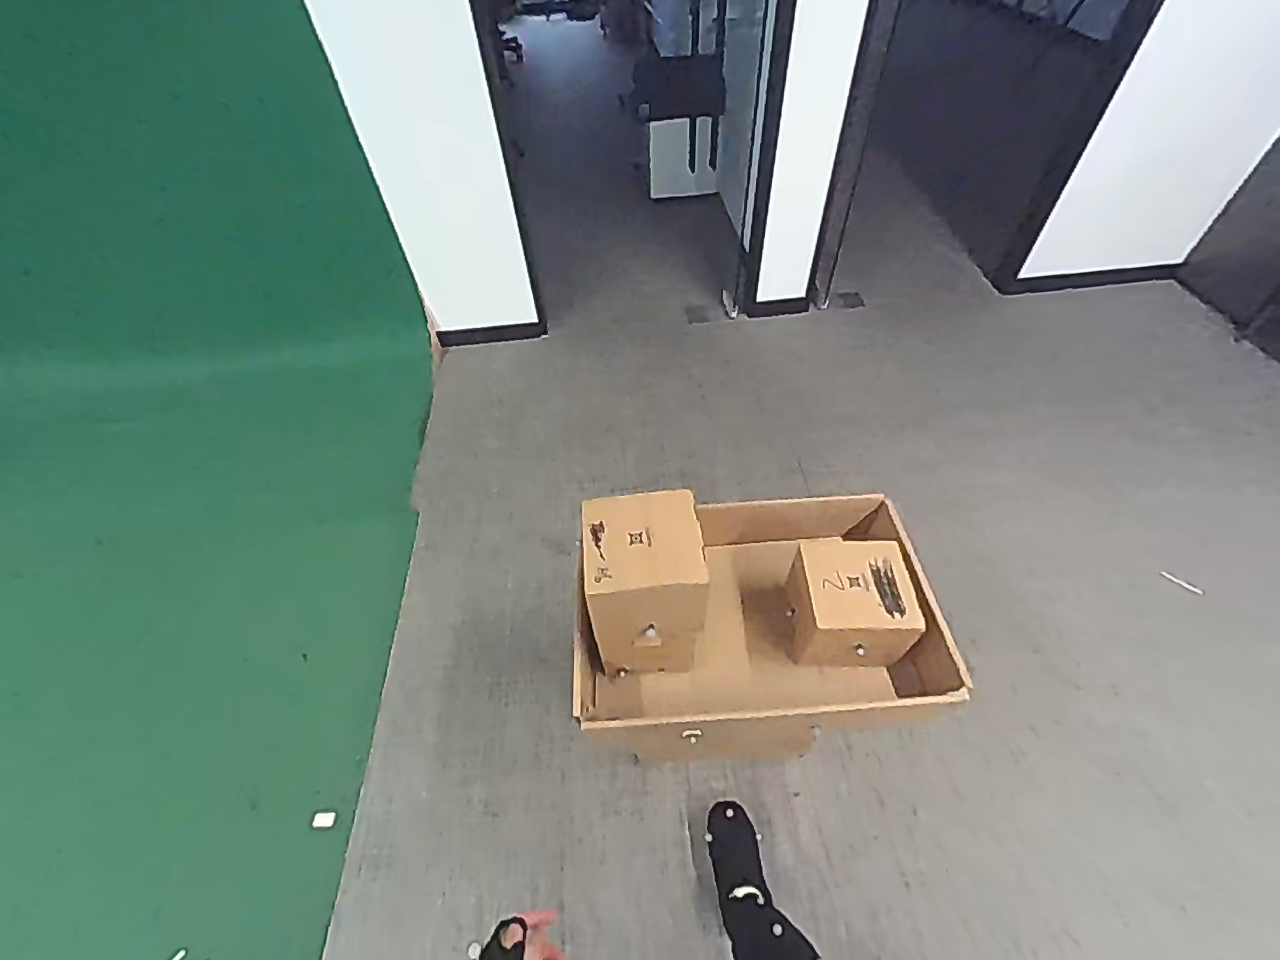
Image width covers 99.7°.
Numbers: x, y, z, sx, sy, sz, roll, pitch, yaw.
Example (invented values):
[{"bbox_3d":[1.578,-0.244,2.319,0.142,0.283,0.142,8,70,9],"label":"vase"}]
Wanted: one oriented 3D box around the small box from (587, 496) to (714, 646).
[{"bbox_3d":[0.012,0.146,0.852,0.179,0.176,0.168,-6,50,-1],"label":"small box"}]
